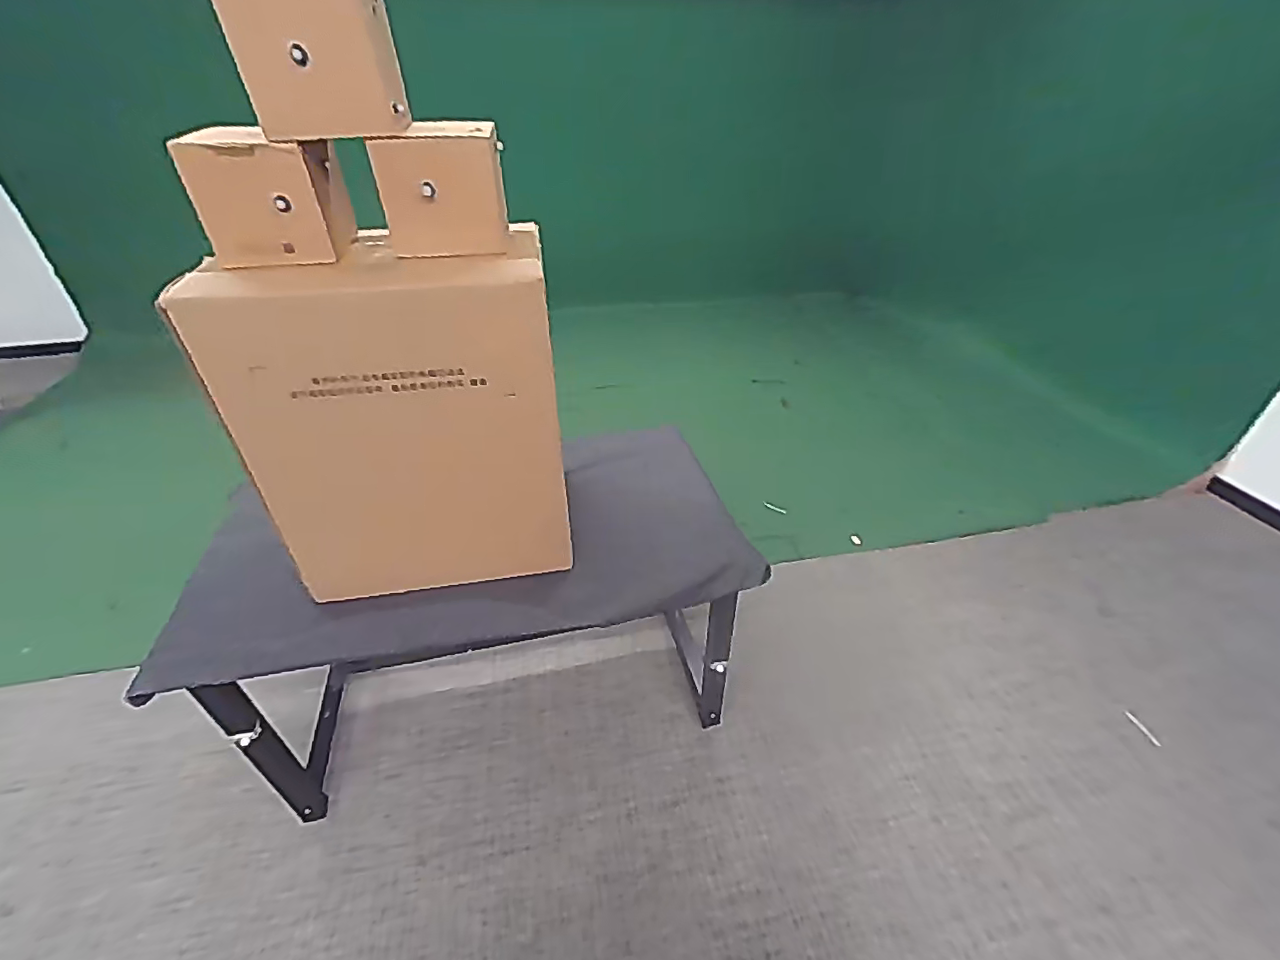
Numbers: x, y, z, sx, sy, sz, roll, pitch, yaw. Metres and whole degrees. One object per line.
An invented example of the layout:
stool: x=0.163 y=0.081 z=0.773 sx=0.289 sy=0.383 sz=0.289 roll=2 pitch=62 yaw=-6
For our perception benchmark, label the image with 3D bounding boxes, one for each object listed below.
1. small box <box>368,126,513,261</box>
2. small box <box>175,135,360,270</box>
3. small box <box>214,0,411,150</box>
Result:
small box: x=-0.314 y=-0.470 z=0.891 sx=0.179 sy=0.176 sz=0.168 roll=-7 pitch=40 yaw=-6
small box: x=-0.566 y=-0.438 z=0.855 sx=0.168 sy=0.176 sz=0.179 roll=-6 pitch=38 yaw=-10
small box: x=-0.442 y=-0.582 z=0.769 sx=0.179 sy=0.176 sz=0.168 roll=-9 pitch=40 yaw=-7
